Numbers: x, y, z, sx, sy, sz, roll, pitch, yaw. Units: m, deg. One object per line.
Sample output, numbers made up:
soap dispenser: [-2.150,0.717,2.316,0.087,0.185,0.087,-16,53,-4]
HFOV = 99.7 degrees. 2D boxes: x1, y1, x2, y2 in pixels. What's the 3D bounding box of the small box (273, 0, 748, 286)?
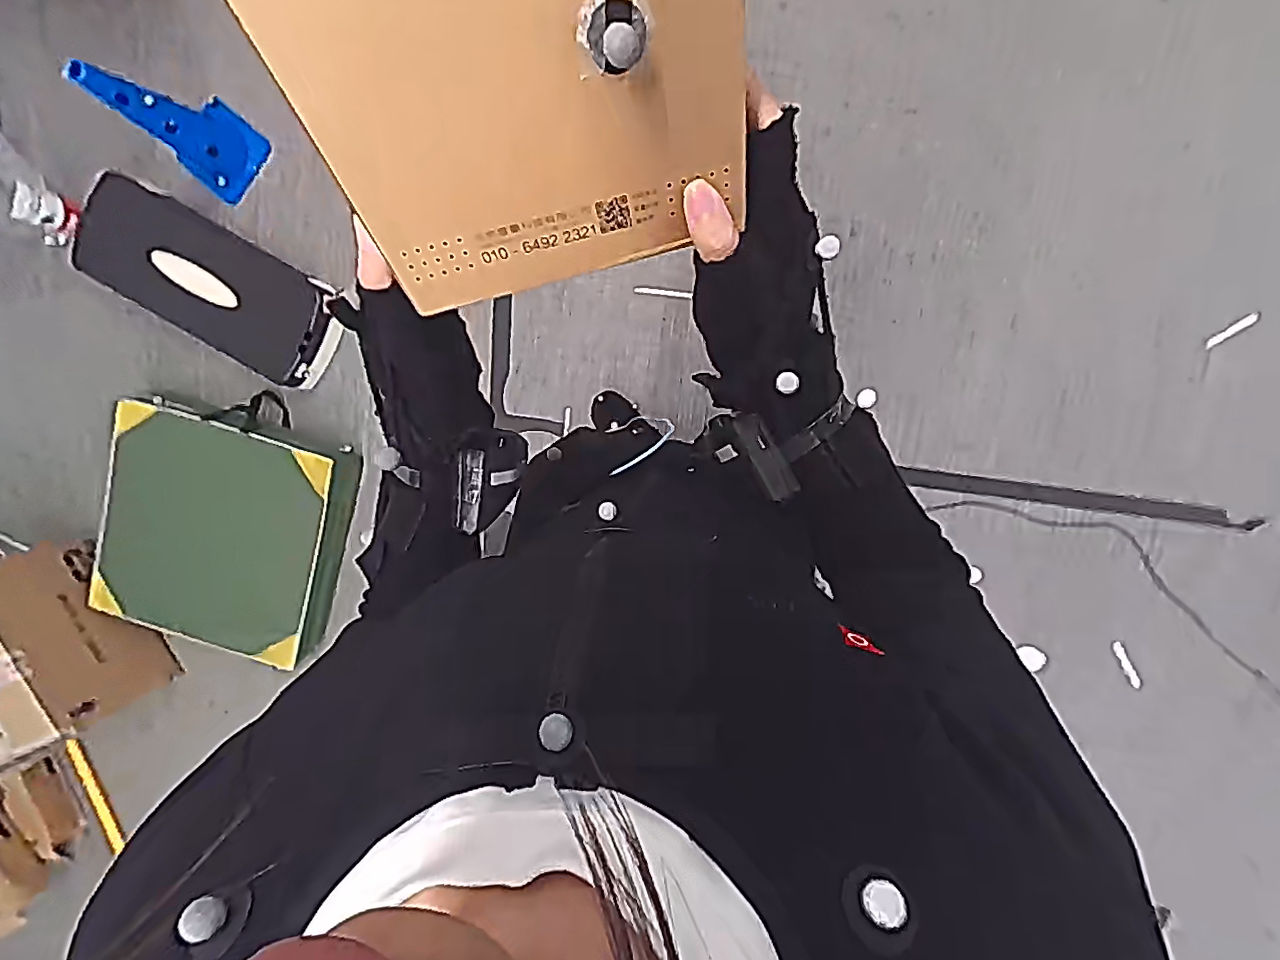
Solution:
small box: [-0.046,-0.216,0.263,0.168,0.176,0.179,-12,53,2]
